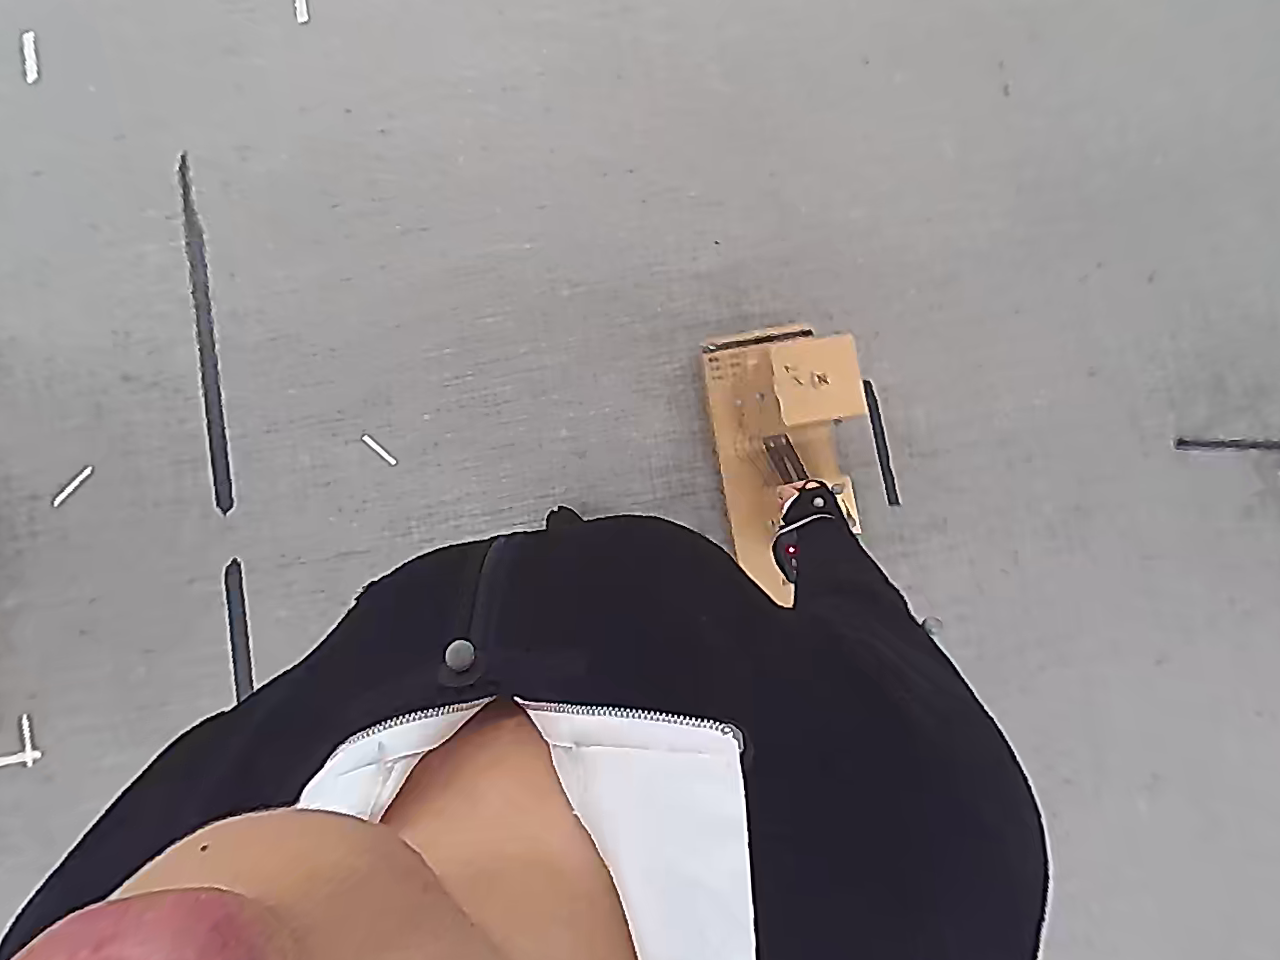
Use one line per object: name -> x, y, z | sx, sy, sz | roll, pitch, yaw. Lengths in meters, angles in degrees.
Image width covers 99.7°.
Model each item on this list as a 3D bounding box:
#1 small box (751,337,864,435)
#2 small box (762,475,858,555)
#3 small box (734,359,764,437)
small box -> 0.354, -0.197, 1.169 | 0.179, 0.176, 0.168 | -9, 87, -1
small box -> 0.405, 0.088, 1.321 | 0.179, 0.176, 0.168 | -9, 85, 0
small box -> 0.344, -0.207, 1.335 | 0.179, 0.176, 0.168 | -10, 88, 0
